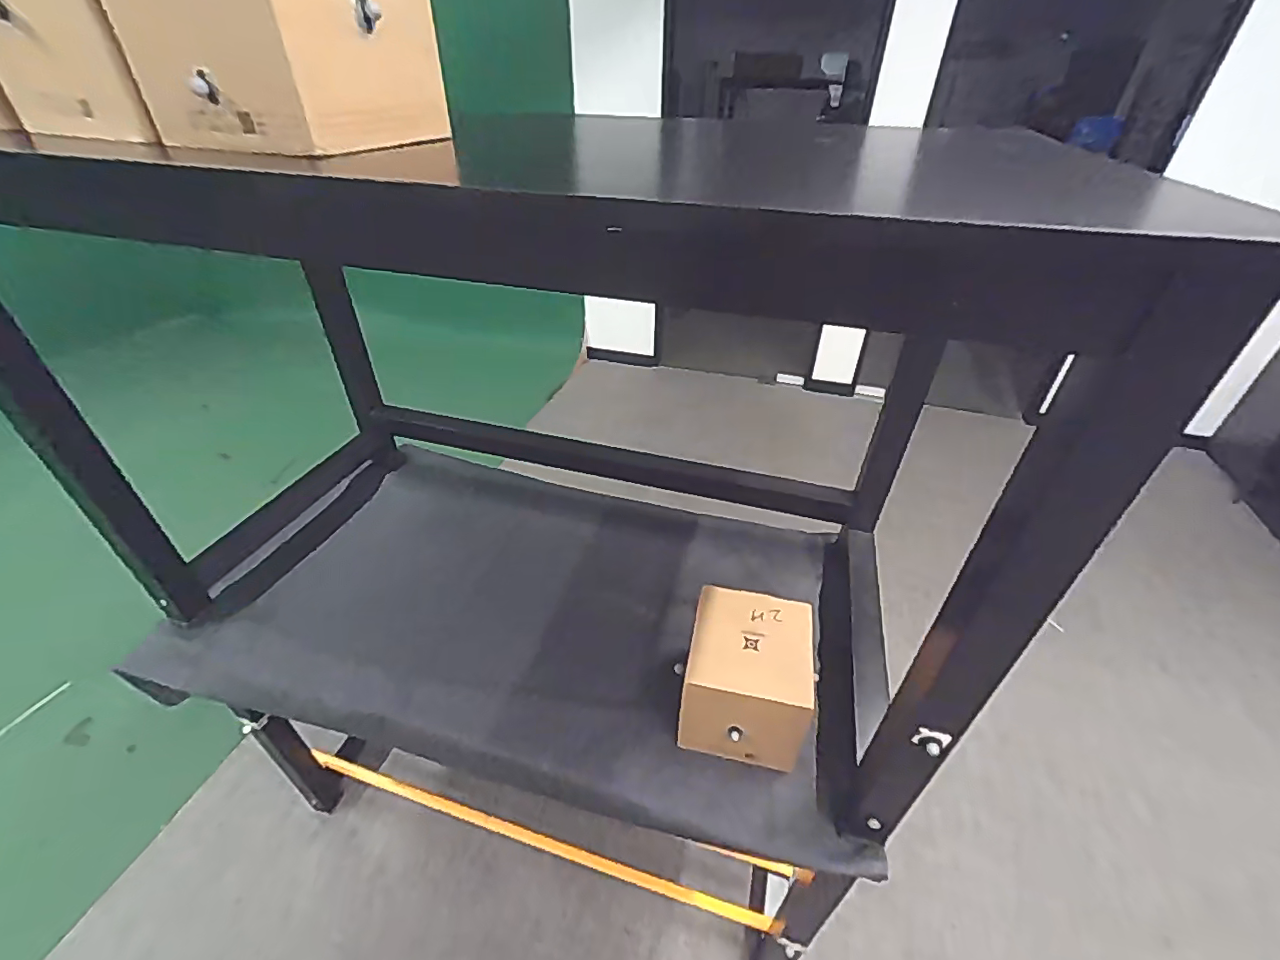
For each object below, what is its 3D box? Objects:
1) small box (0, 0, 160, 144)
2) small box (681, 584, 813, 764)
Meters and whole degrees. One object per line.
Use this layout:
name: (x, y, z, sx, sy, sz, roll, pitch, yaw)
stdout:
small box: (-0.641, -0.449, 0.540, 0.168, 0.176, 0.179, 11, 40, 11)
small box: (0.157, 0.287, 0.801, 0.168, 0.176, 0.179, 9, 37, 10)
